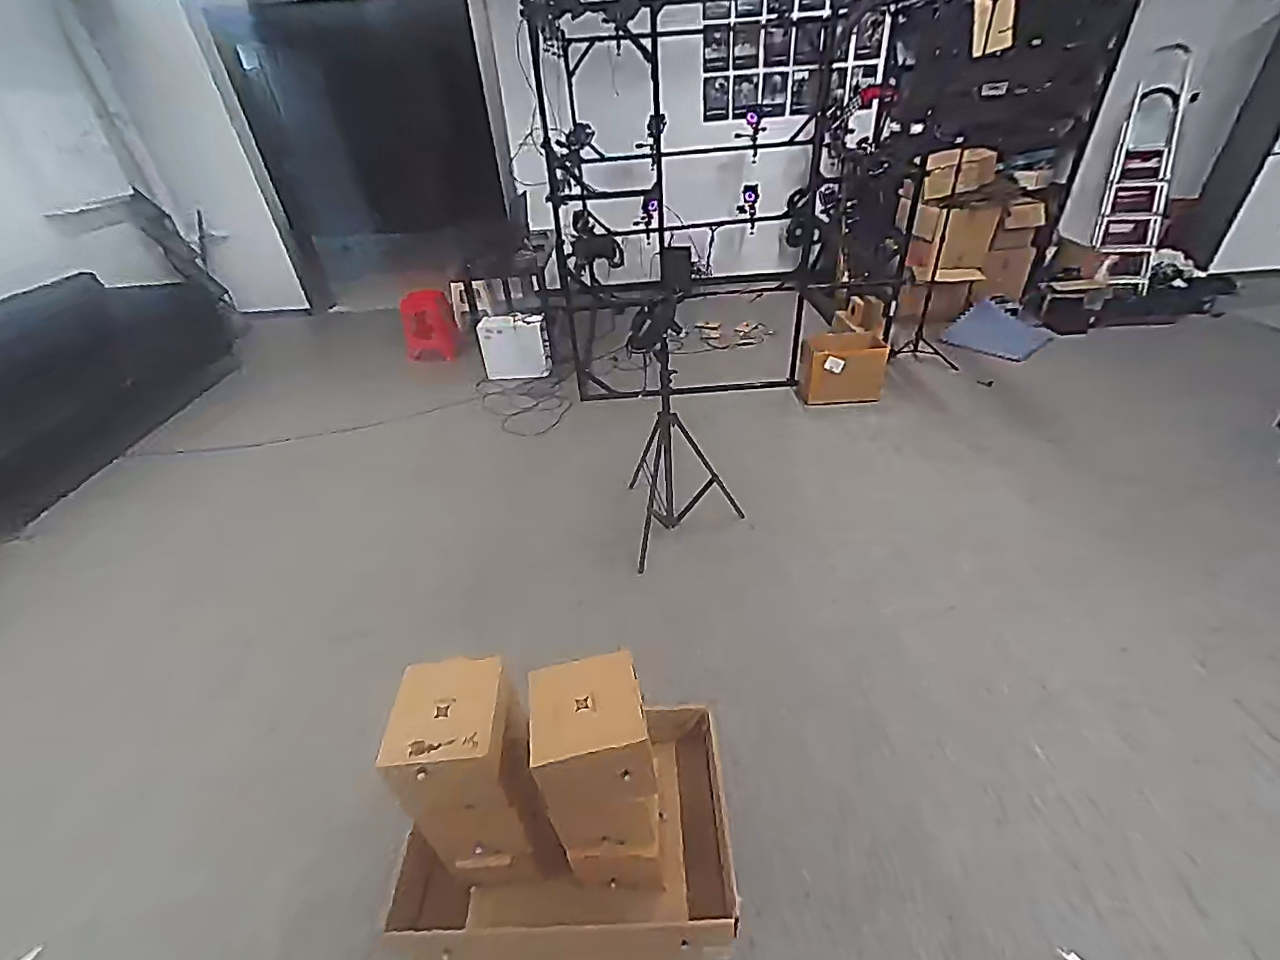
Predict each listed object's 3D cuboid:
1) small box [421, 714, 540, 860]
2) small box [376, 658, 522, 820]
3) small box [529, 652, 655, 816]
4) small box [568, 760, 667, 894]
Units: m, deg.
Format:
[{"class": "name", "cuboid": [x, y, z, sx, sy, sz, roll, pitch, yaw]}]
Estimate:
[{"class": "small box", "cuboid": [-0.281, 0.558, 0.987, 0.168, 0.176, 0.179, -5, 36, 0]}, {"class": "small box", "cuboid": [-0.298, 0.423, 0.891, 0.168, 0.176, 0.179, -6, 34, 0]}, {"class": "small box", "cuboid": [-0.075, 0.414, 0.884, 0.179, 0.176, 0.168, -12, 35, -3]}, {"class": "small box", "cuboid": [-0.036, 0.682, 1.067, 0.168, 0.176, 0.179, -5, 36, 5]}]
